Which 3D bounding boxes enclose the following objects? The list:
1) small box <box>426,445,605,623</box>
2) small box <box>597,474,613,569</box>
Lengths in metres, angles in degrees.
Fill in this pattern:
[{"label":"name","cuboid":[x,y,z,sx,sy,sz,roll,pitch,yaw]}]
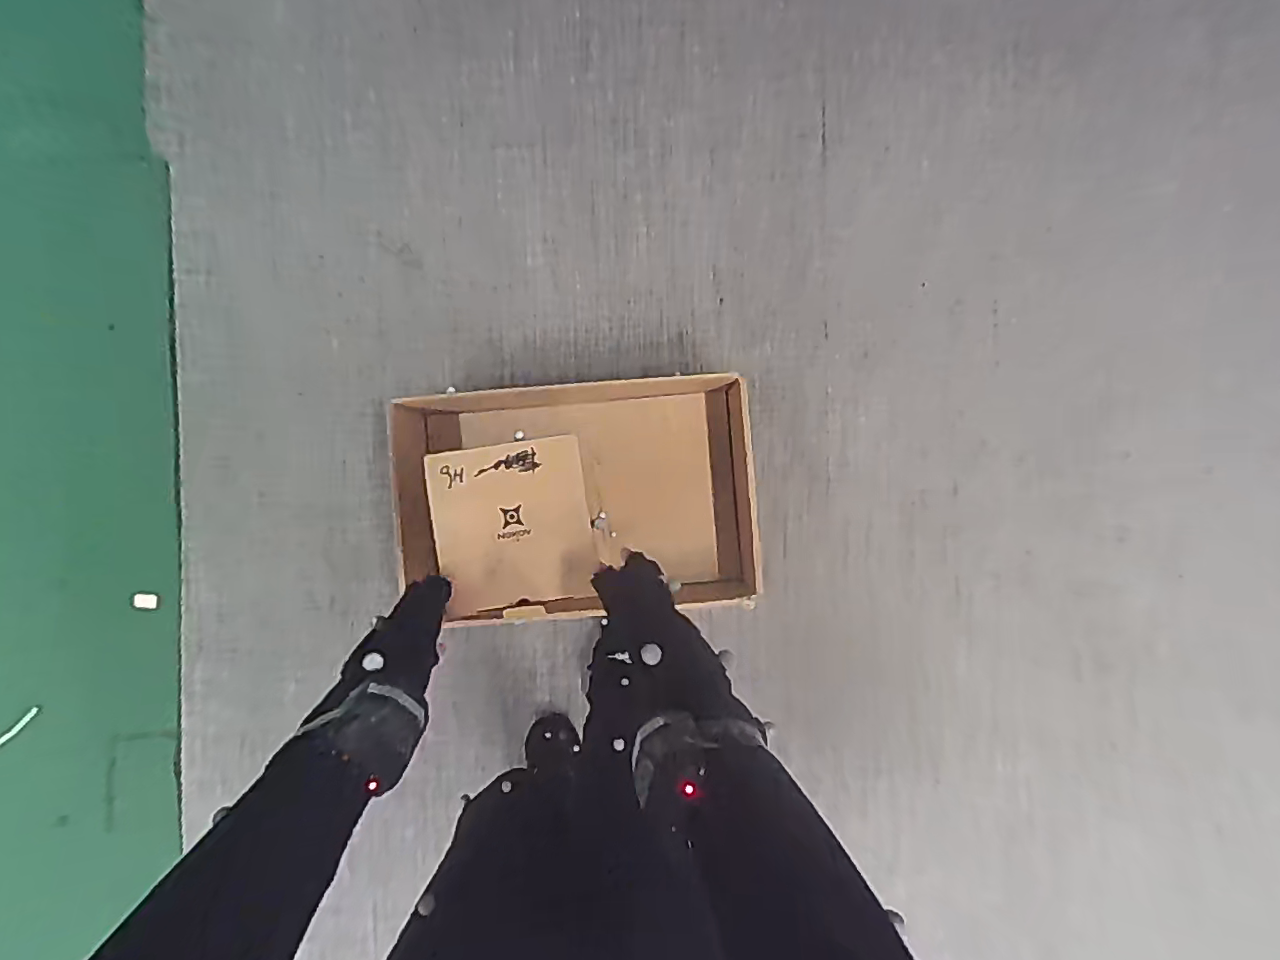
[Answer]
[{"label":"small box","cuboid":[-0.136,0.056,0.651,0.168,0.176,0.179,-7,90,0]},{"label":"small box","cuboid":[-0.144,0.076,0.975,0.179,0.176,0.168,-6,89,2]}]
